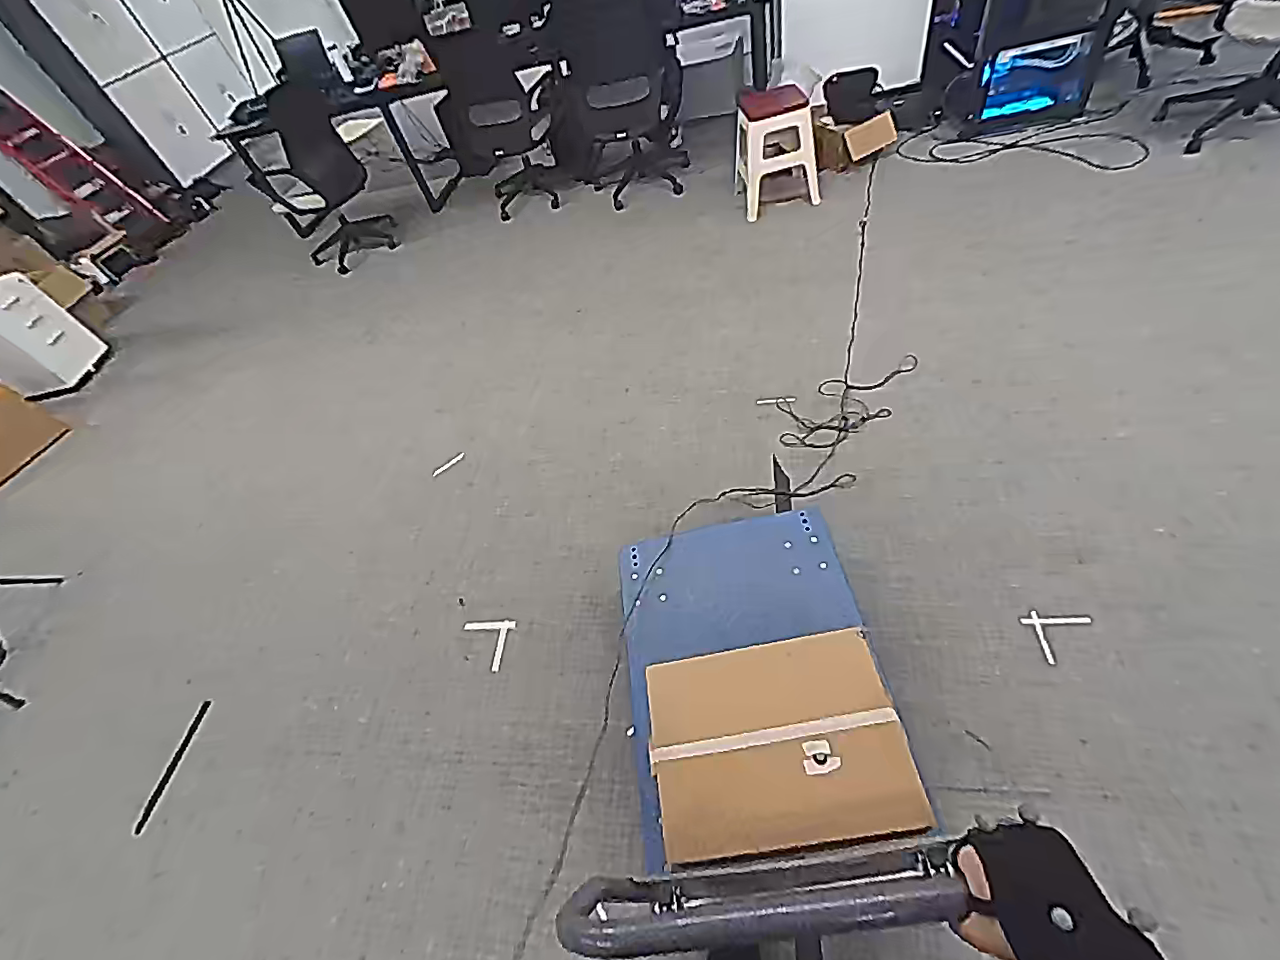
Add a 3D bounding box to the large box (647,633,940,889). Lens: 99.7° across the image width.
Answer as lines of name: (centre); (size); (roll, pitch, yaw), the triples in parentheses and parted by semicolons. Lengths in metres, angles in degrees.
large box: (0.251, 0.525, 0.995); (0.408, 0.320, 0.320); (-13, 50, 5)
